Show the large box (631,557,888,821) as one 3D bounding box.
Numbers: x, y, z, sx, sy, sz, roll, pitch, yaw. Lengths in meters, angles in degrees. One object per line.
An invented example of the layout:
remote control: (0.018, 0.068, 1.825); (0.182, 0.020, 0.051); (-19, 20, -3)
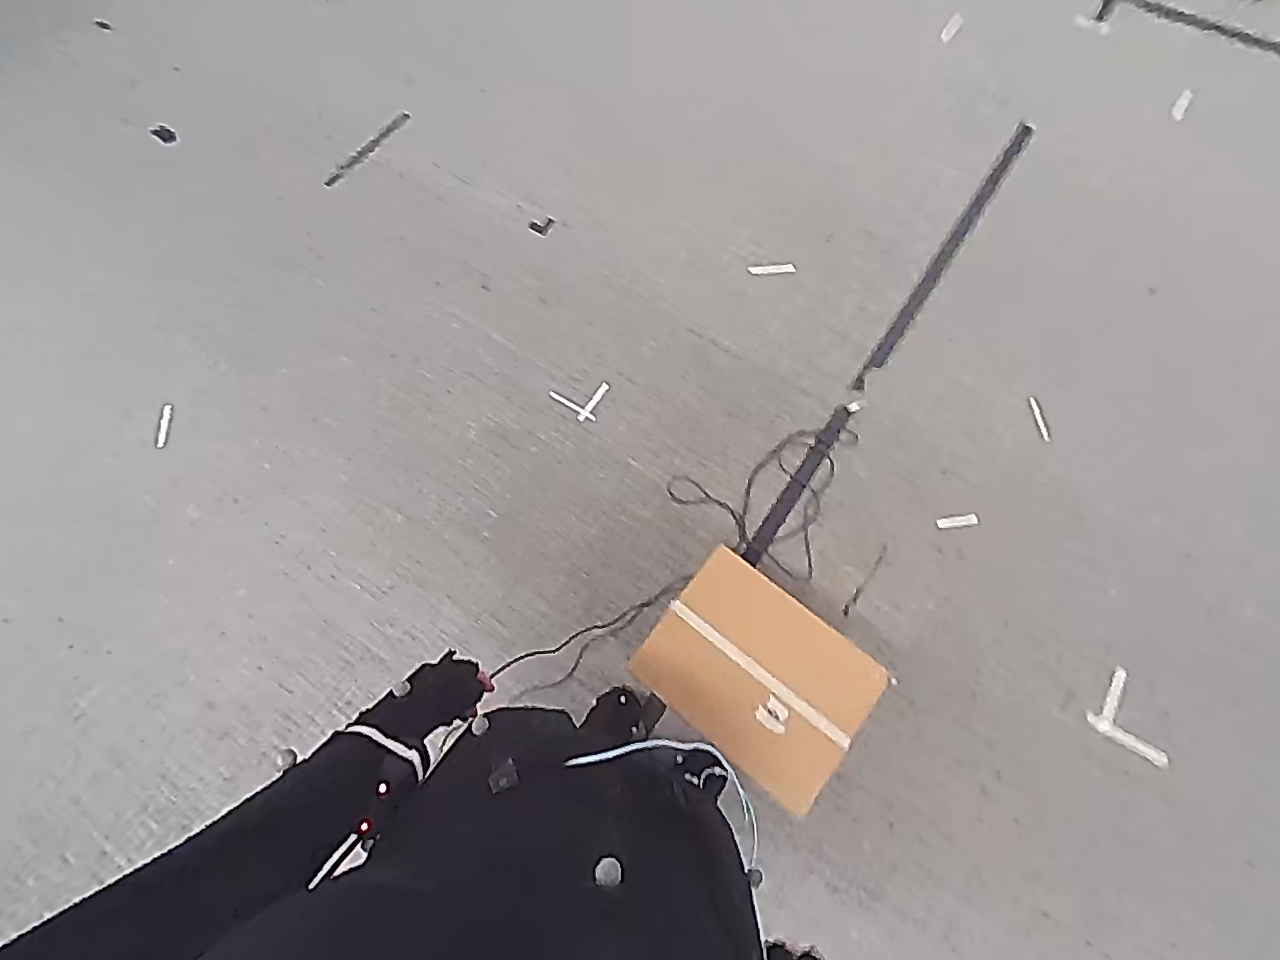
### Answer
large box: (0.228, 0.429, 1.177); (0.408, 0.320, 0.320); (38, 77, 13)
